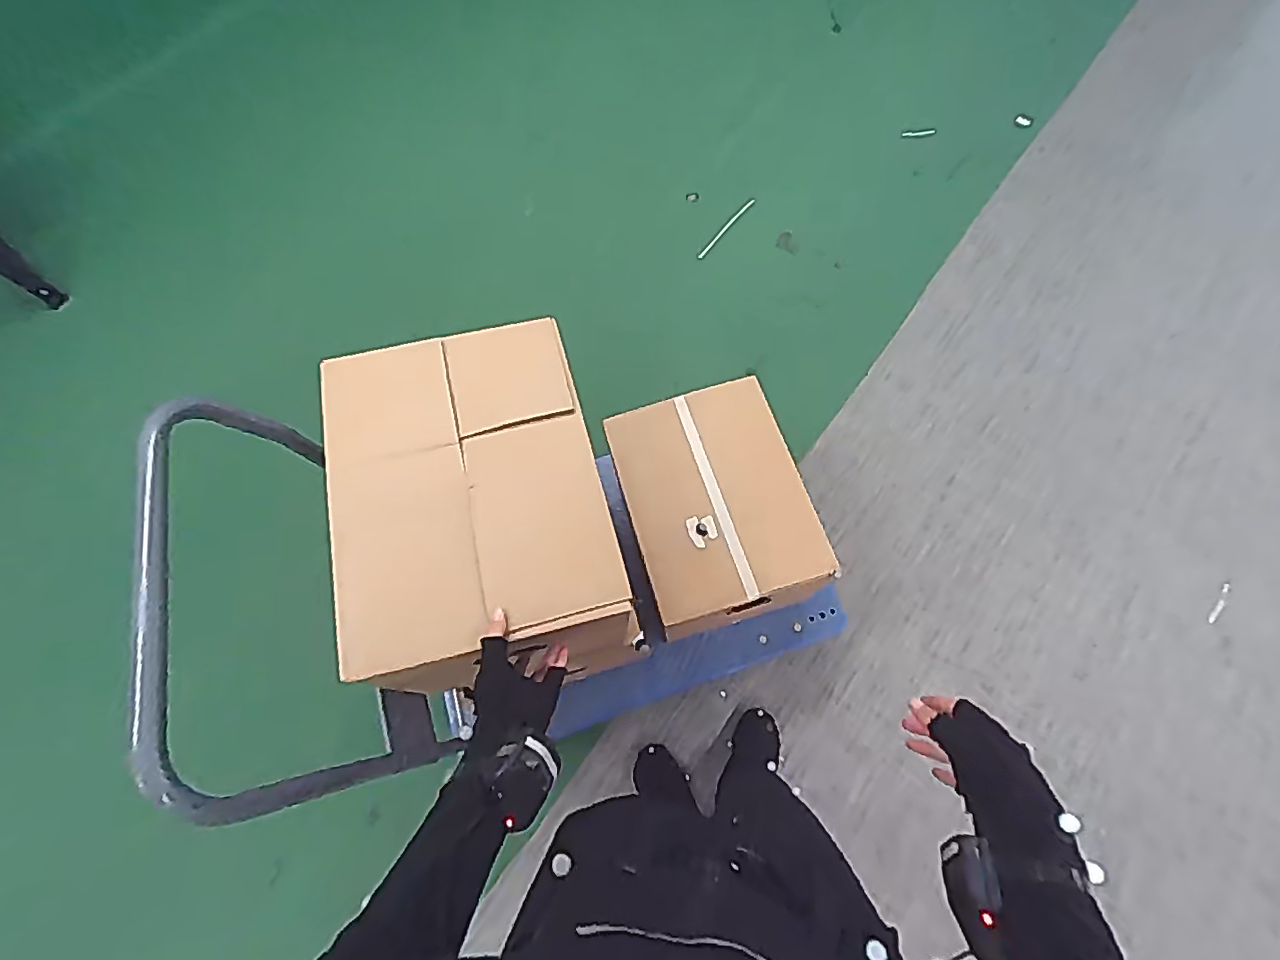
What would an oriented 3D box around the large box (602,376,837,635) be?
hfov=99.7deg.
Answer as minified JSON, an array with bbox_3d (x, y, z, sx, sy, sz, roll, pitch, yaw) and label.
[{"bbox_3d":[0.134,0.066,1.105,0.320,0.320,0.408,-17,69,-3],"label":"large box"}]
